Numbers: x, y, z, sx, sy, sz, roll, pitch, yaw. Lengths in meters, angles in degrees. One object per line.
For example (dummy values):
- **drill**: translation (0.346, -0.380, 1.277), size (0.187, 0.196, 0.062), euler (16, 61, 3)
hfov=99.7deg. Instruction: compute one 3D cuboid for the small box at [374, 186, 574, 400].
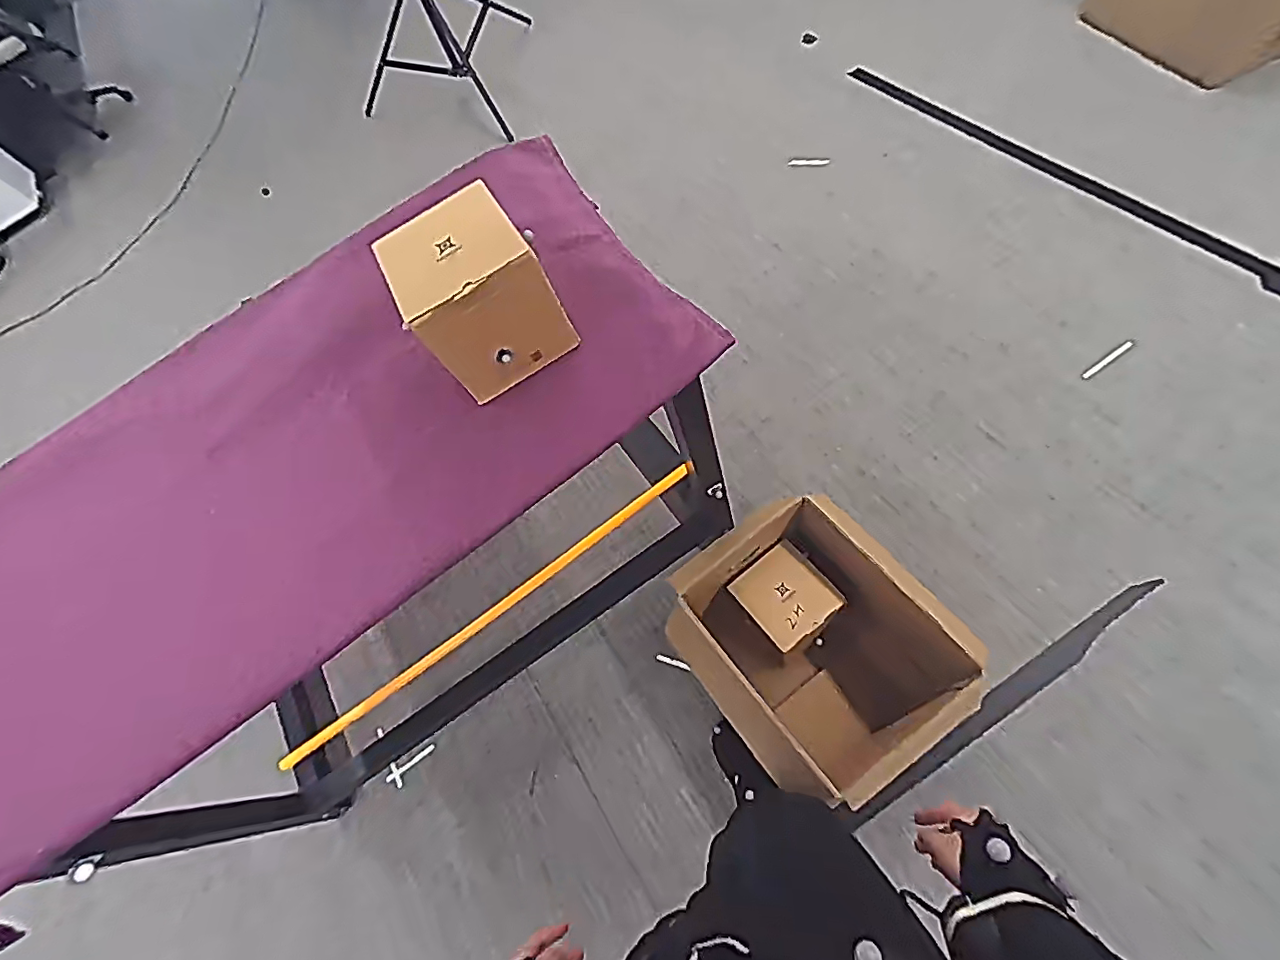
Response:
- **small box**: translation (-0.214, -0.242, 0.723), size (0.168, 0.176, 0.179), euler (-33, 61, -1)
